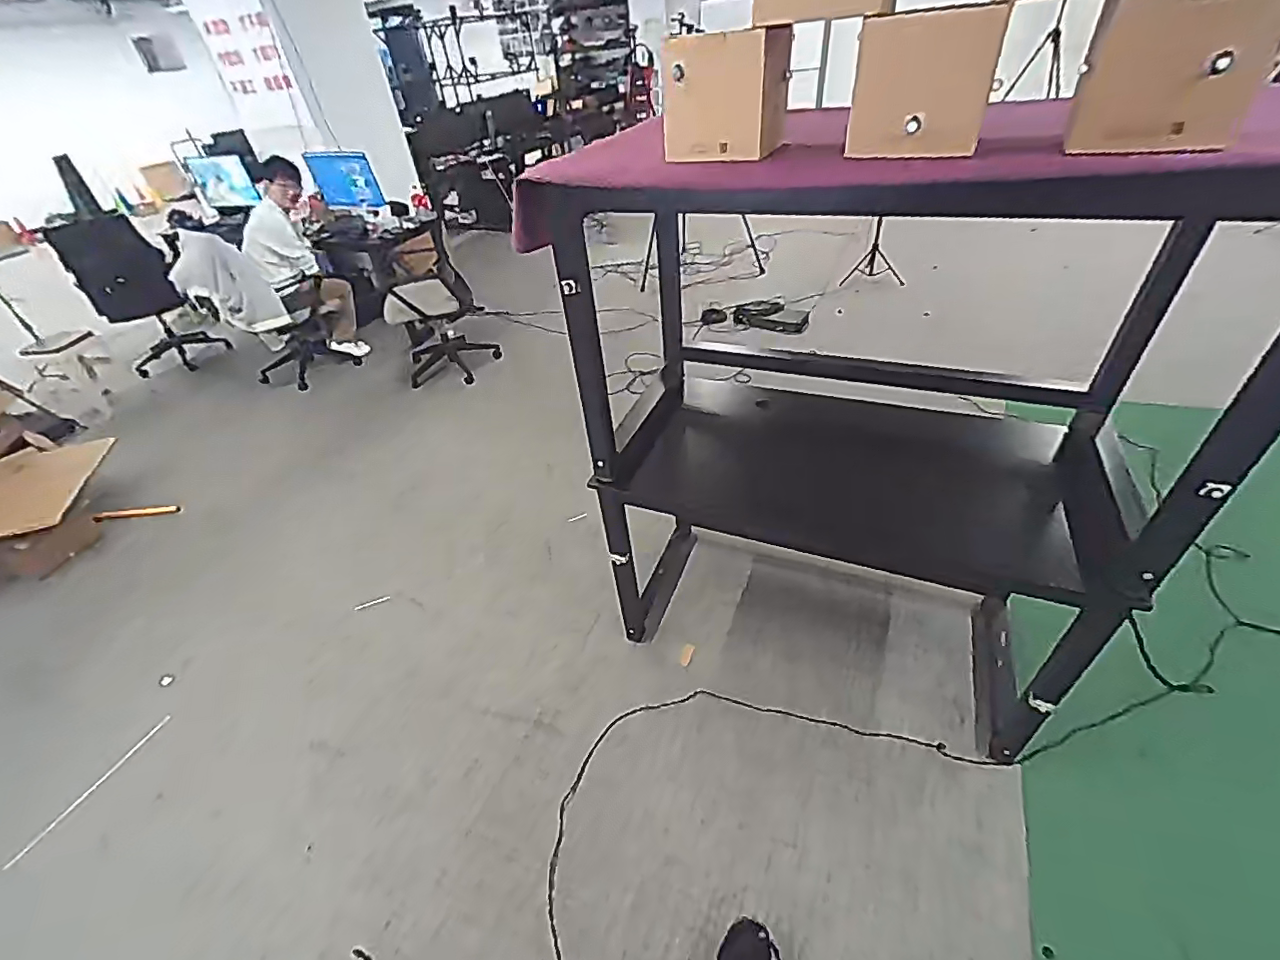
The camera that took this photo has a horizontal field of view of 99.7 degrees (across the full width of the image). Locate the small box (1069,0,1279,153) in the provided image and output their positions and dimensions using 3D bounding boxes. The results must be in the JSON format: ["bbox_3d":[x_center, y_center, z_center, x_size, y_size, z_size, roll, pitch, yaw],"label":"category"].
[{"bbox_3d":[0.673,-0.520,0.681,0.168,0.176,0.179,15,43,25],"label":"small box"}]

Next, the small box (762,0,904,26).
[{"bbox_3d":[0.274,-0.734,0.736,0.179,0.176,0.168,14,43,23],"label":"small box"}]
